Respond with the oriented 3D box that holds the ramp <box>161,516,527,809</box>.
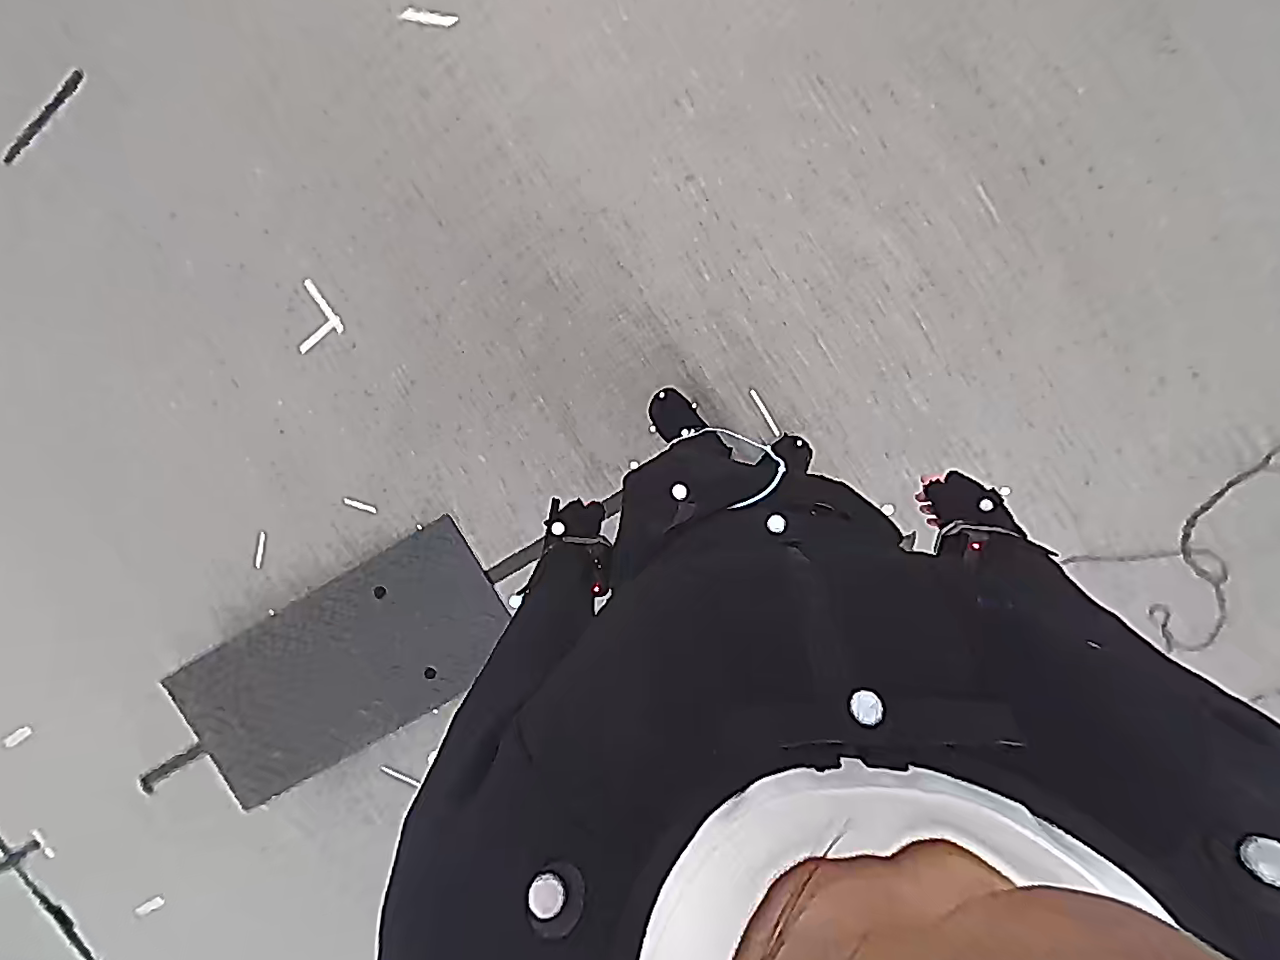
[{"bbox_3d":[-0.884,0.550,1.622,0.991,0.206,0.509,-31,93,12],"label":"ramp"}]
